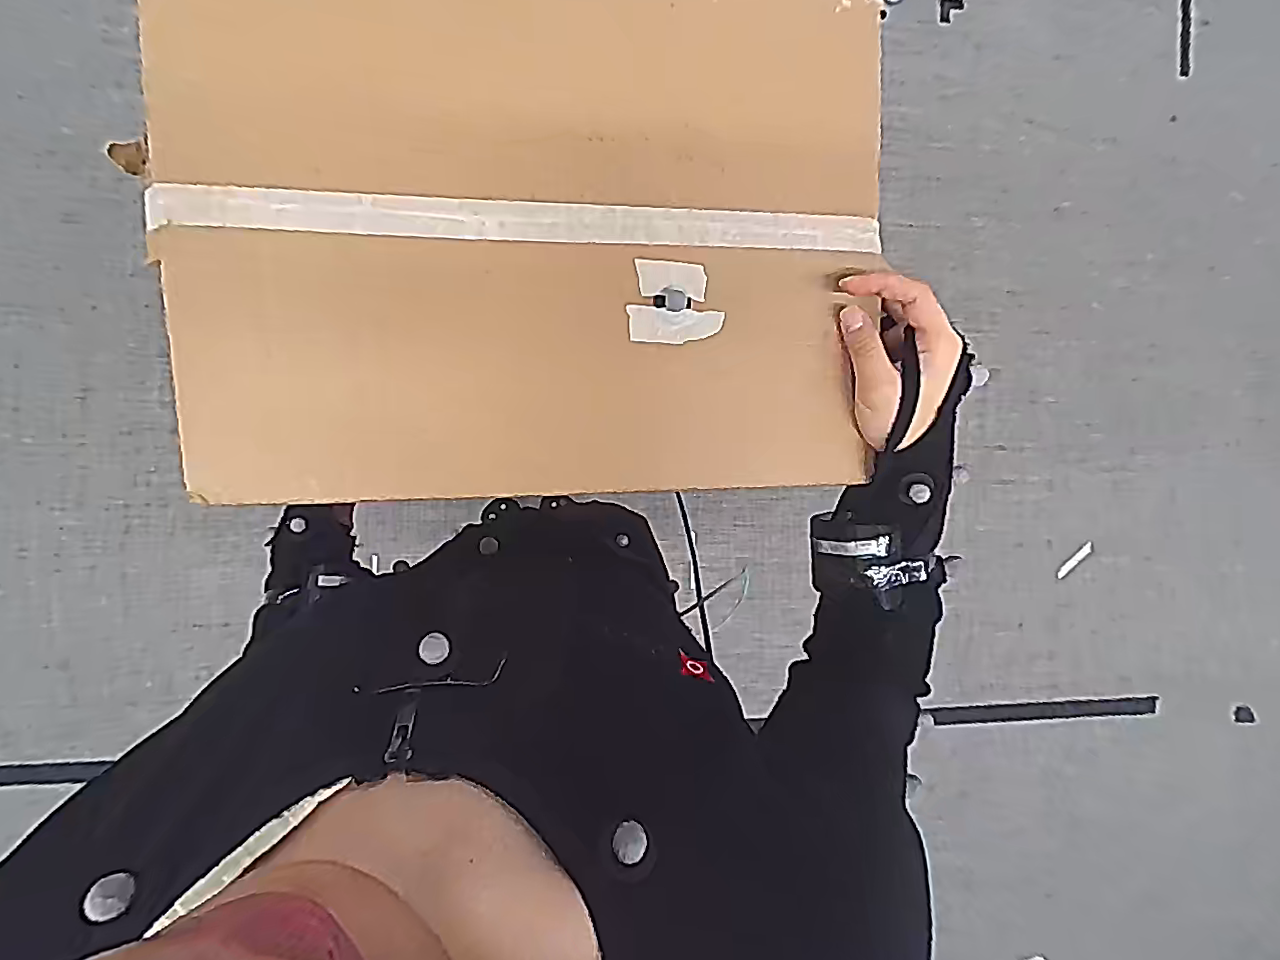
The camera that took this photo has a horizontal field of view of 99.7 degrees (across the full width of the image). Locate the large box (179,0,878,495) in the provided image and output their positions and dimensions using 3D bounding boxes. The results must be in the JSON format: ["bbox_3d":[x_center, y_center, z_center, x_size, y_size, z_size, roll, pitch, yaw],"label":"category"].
[{"bbox_3d":[-0.070,-0.164,0.466,0.408,0.320,0.320,-2,96,-11],"label":"large box"}]
